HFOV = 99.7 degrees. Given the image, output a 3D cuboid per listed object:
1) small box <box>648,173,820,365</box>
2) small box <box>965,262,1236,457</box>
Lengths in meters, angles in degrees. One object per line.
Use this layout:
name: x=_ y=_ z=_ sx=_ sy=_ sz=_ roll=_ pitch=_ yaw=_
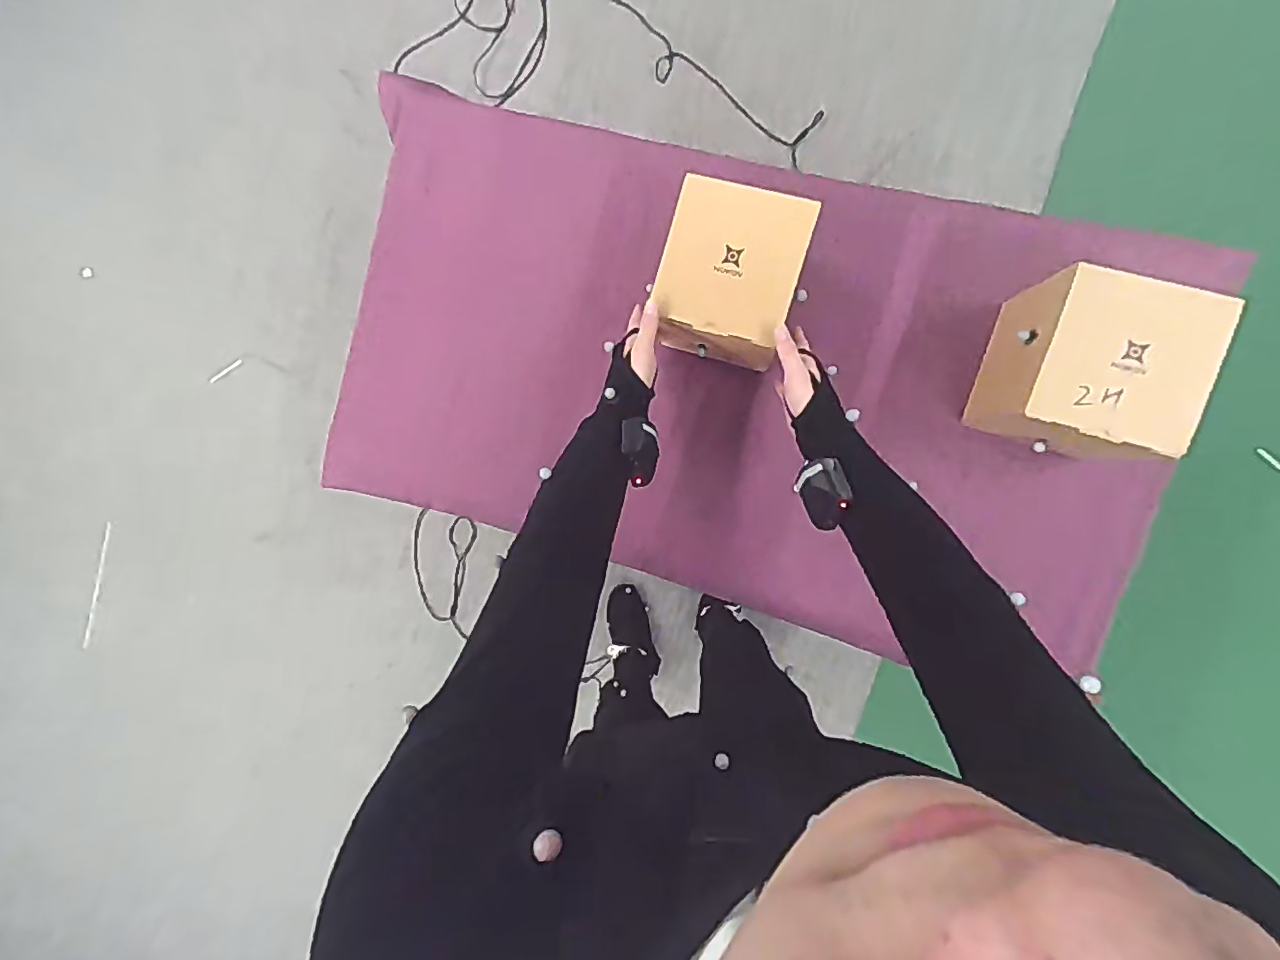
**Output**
small box: x=0.120 y=-0.267 z=0.722 sx=0.168 sy=0.176 sz=0.179 roll=17 pitch=97 yaw=7
small box: x=0.536 y=-0.134 z=0.662 sx=0.168 sy=0.176 sz=0.179 roll=18 pitch=96 yaw=8
